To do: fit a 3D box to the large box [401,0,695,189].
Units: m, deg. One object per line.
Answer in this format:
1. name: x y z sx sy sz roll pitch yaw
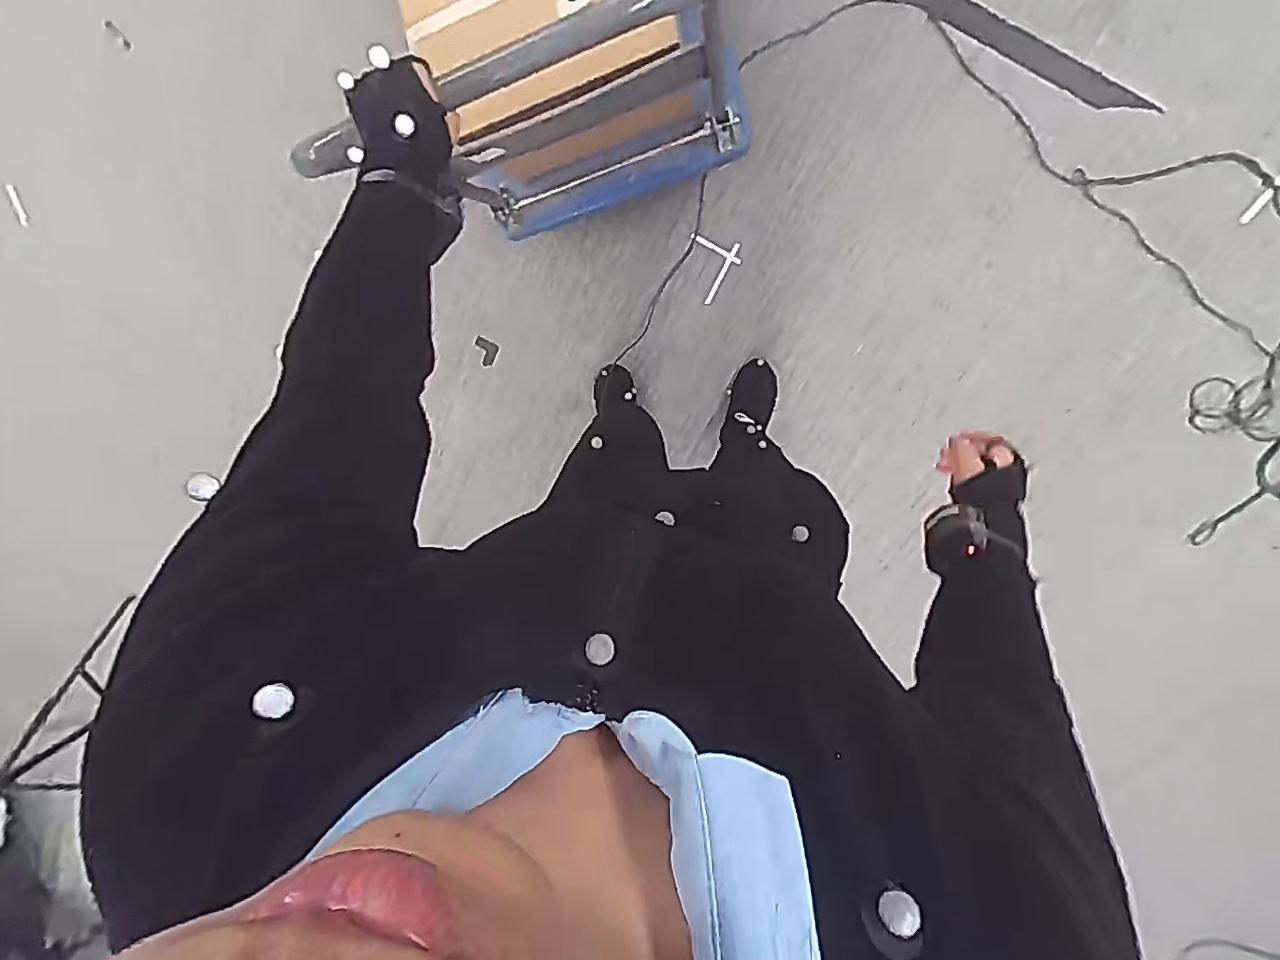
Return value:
1. large box: -0.141 -0.769 0.950 0.408 0.320 0.320 -13 105 14
